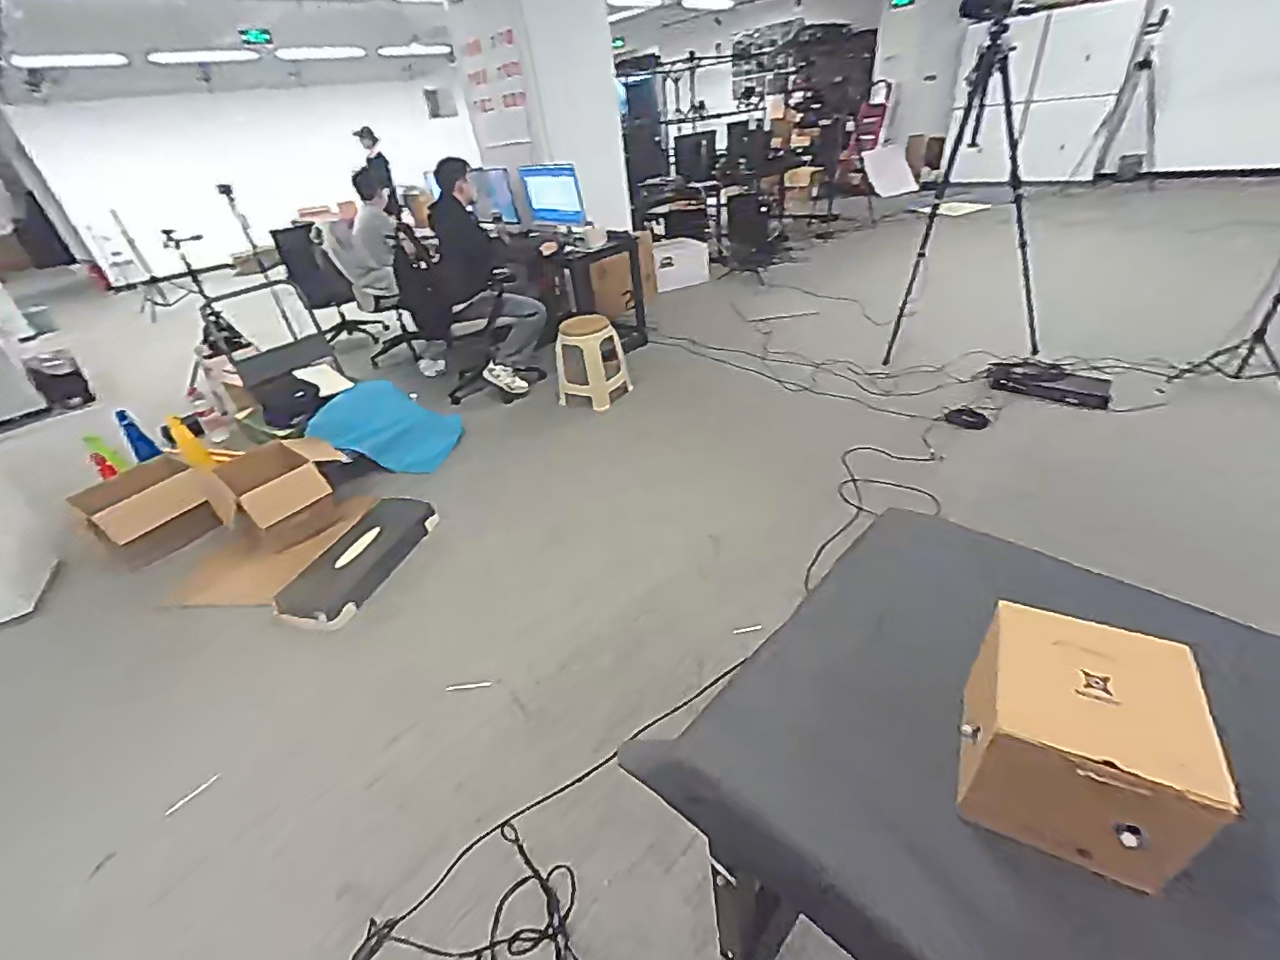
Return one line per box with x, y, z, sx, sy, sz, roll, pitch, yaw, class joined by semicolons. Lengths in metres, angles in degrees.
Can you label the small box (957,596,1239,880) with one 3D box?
0.438;0.256;0.554;0.168;0.176;0.179;13;37;25;small box
